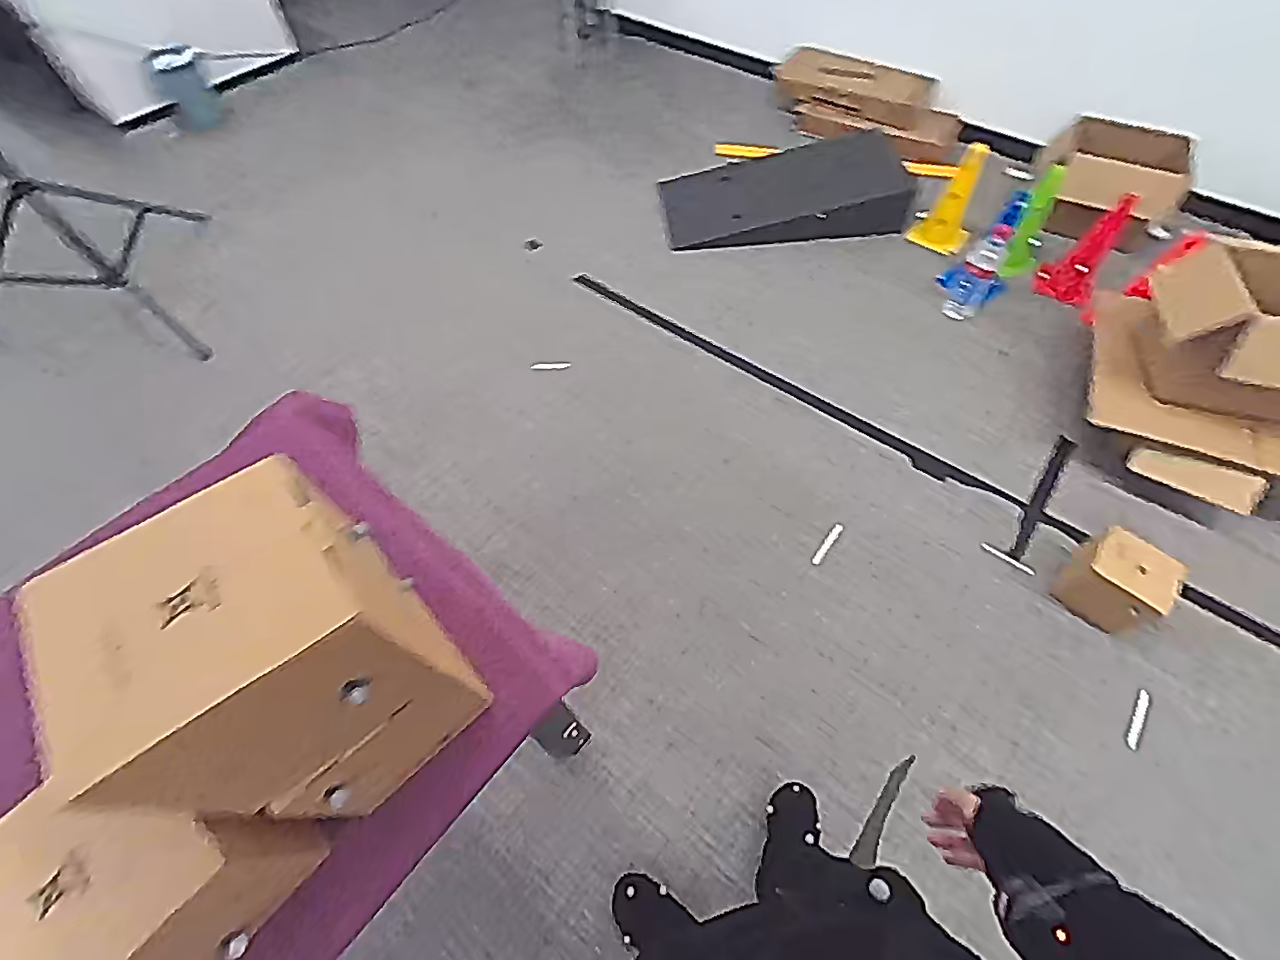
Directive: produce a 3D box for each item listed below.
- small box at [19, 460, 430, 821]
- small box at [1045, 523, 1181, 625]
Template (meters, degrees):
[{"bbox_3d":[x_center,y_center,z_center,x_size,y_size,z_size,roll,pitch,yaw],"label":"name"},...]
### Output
[{"bbox_3d":[-0.287,0.124,0.415,0.179,0.176,0.168,-36,63,-18],"label":"small box"},{"bbox_3d":[1.200,0.248,1.383,0.179,0.176,0.168,38,66,20],"label":"small box"}]
